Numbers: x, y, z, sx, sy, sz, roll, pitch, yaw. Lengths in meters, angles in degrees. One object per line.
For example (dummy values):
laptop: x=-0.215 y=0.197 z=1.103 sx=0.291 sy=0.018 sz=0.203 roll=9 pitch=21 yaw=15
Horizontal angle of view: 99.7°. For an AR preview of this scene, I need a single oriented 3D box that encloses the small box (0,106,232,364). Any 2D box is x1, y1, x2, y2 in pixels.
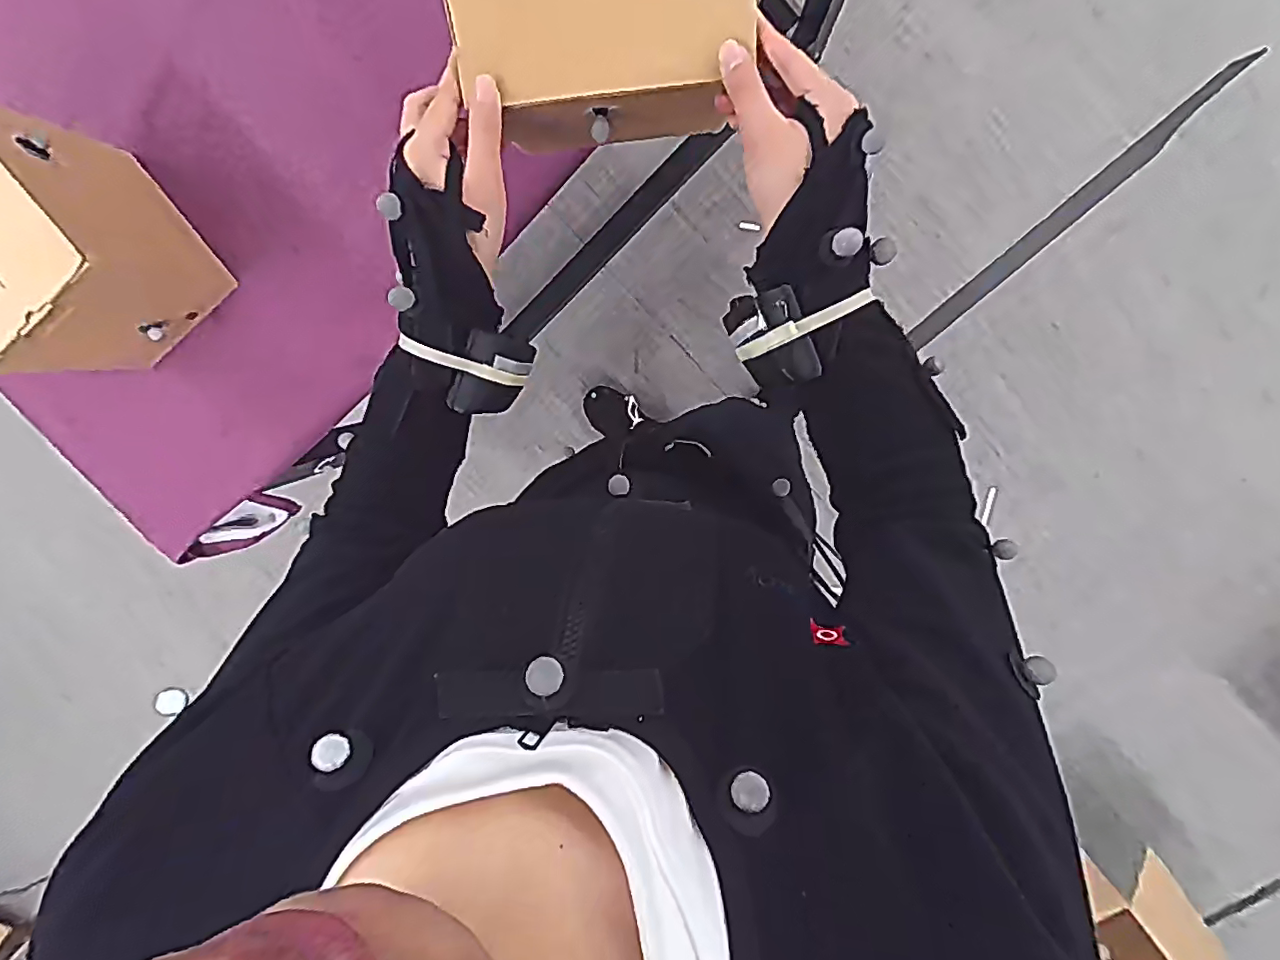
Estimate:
small box: x=-0.583 y=-0.230 z=0.546 sx=0.168 sy=0.176 sz=0.179 roll=-35 pitch=98 yaw=11
